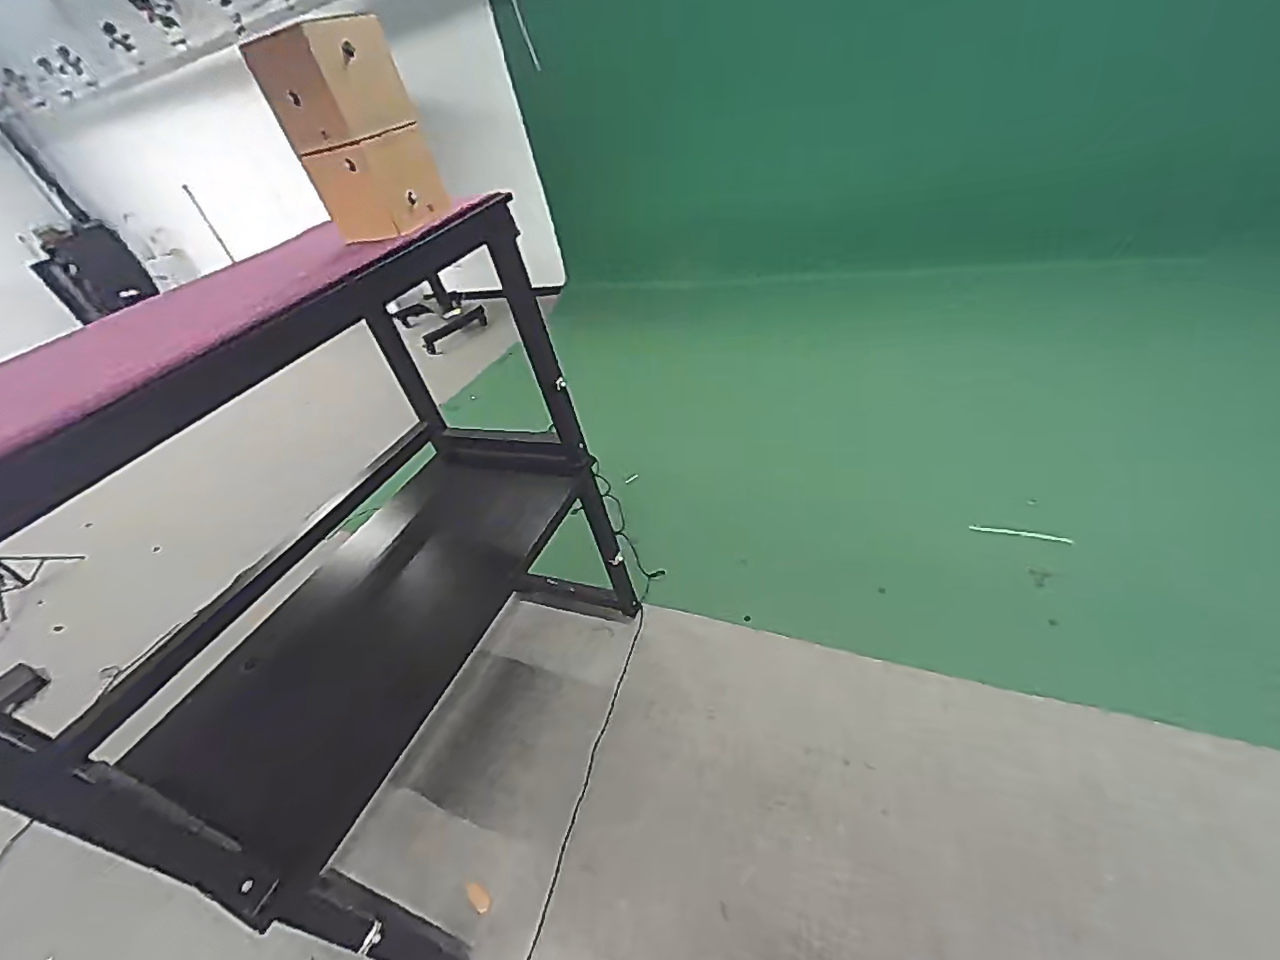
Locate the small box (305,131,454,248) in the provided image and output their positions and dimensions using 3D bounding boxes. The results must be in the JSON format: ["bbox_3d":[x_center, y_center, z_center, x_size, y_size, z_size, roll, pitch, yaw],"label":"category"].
[{"bbox_3d":[-0.519,-0.583,1.098,0.179,0.176,0.168,7,43,25],"label":"small box"}]

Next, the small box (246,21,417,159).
[{"bbox_3d":[-0.549,-0.704,0.989,0.168,0.176,0.179,7,44,25],"label":"small box"}]
